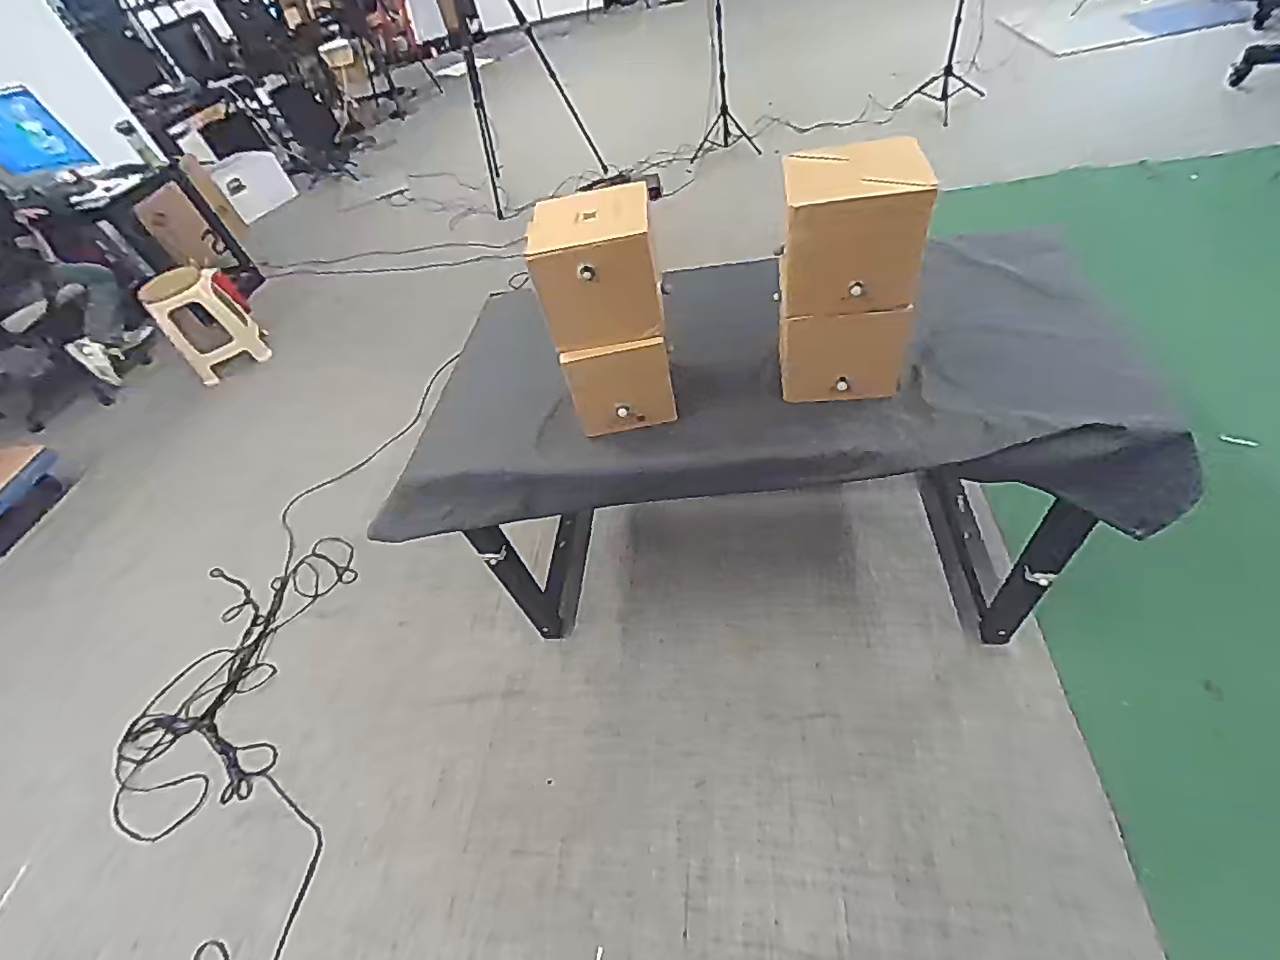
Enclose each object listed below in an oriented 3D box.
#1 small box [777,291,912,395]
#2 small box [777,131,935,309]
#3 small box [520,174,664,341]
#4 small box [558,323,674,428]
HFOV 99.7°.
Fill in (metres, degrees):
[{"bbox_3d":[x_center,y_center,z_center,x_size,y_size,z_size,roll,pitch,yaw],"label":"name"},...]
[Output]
[{"bbox_3d":[0.320,-0.256,0.885,0.179,0.176,0.168,-2,50,12],"label":"small box"},{"bbox_3d":[0.287,-0.364,0.760,0.179,0.176,0.168,-1,50,13],"label":"small box"},{"bbox_3d":[-0.063,-0.331,0.824,0.179,0.176,0.168,-7,51,7],"label":"small box"},{"bbox_3d":[-0.038,-0.216,0.937,0.168,0.176,0.179,-10,50,5],"label":"small box"}]
